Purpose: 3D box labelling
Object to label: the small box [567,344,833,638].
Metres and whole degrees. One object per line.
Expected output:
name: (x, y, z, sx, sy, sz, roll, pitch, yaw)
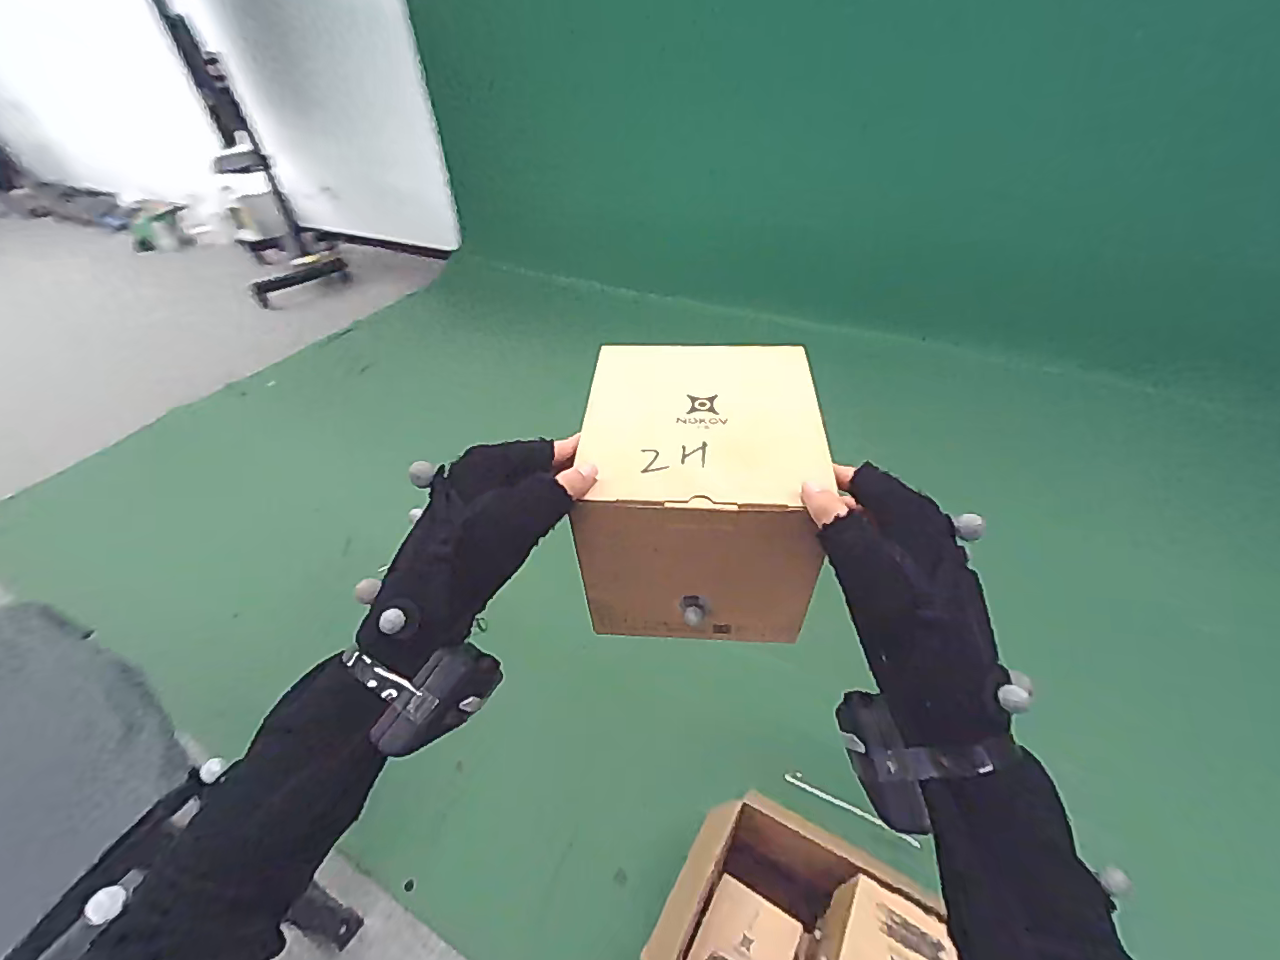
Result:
small box: (0.044, 0.007, 0.443, 0.168, 0.176, 0.179, 1, 46, 5)
